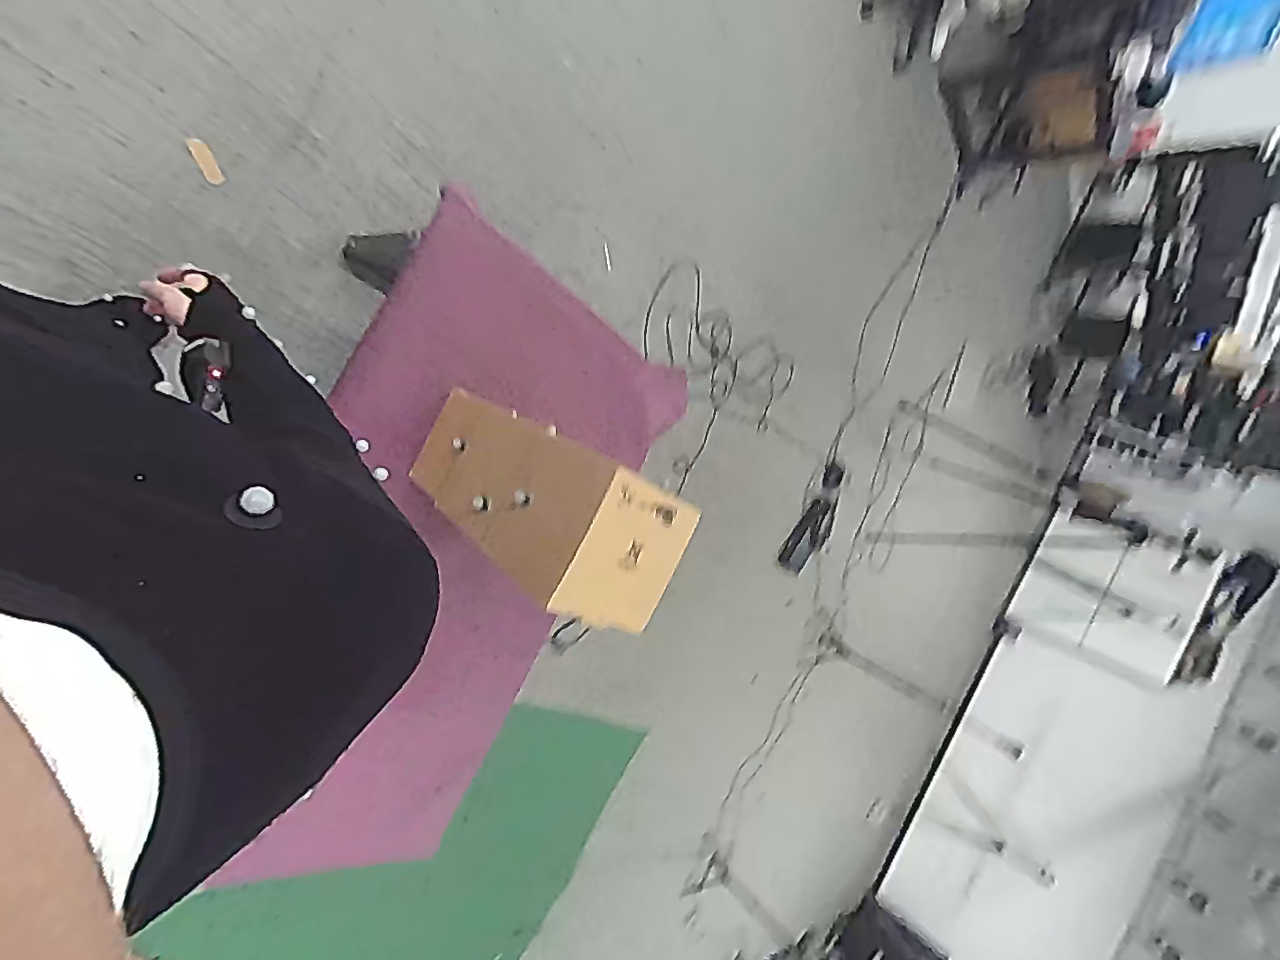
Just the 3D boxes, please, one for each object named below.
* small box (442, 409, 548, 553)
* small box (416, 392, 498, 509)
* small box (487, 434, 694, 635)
[{"bbox_3d":[-0.171,0.017,0.810,0.168,0.176,0.179,32,85,-44],"label":"small box"},{"bbox_3d":[-0.264,-0.030,0.939,0.168,0.176,0.179,30,87,-44],"label":"small box"},{"bbox_3d":[-0.070,0.067,0.691,0.168,0.176,0.179,32,87,-45],"label":"small box"}]
